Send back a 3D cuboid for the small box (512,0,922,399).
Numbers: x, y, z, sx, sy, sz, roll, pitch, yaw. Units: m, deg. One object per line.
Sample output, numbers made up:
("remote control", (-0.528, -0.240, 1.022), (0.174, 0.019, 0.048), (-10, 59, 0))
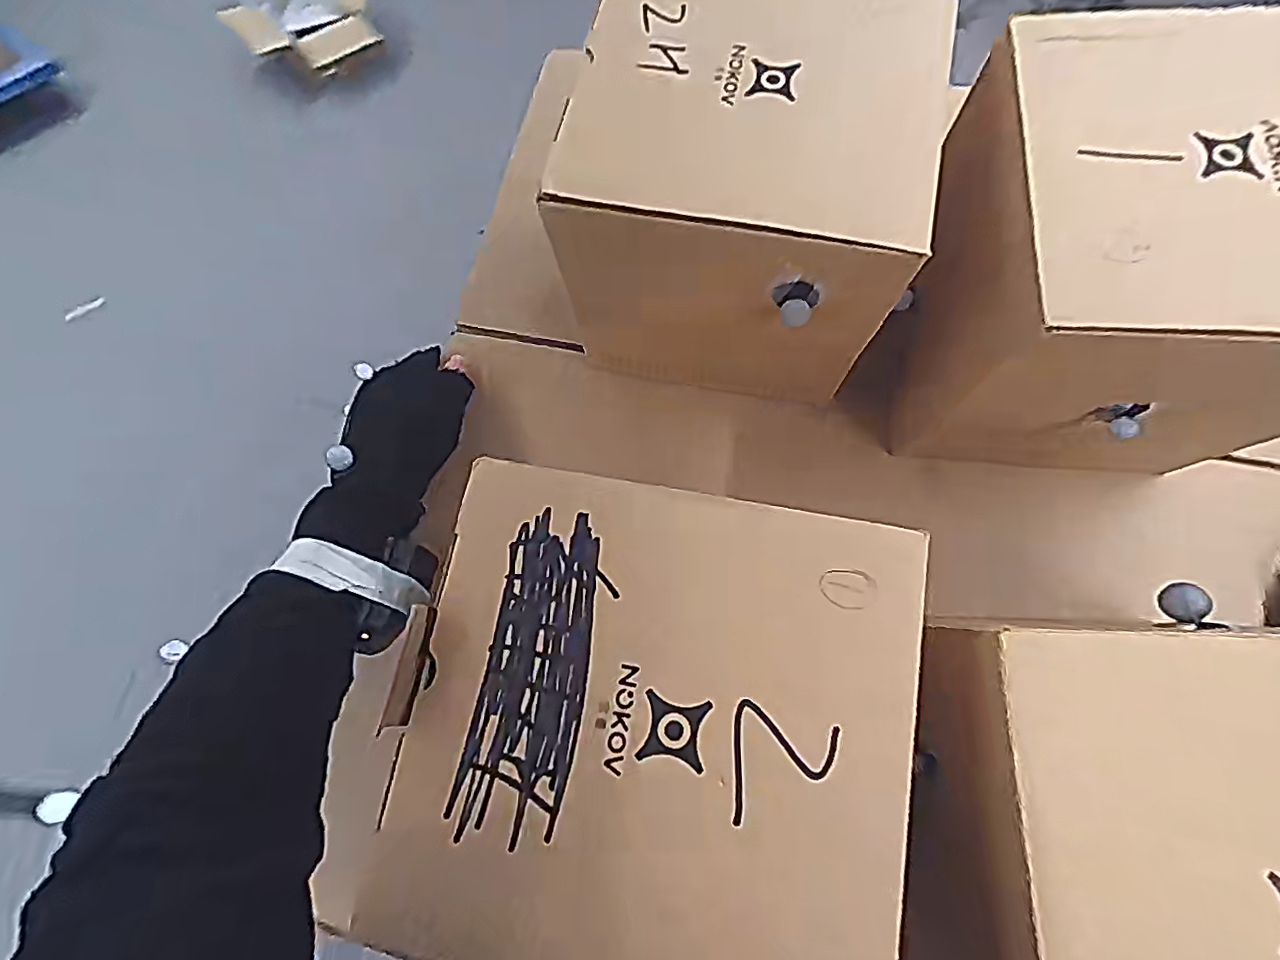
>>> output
("small box", (0.046, -0.166, 0.341), (0.179, 0.176, 0.168), (11, 75, 7))
